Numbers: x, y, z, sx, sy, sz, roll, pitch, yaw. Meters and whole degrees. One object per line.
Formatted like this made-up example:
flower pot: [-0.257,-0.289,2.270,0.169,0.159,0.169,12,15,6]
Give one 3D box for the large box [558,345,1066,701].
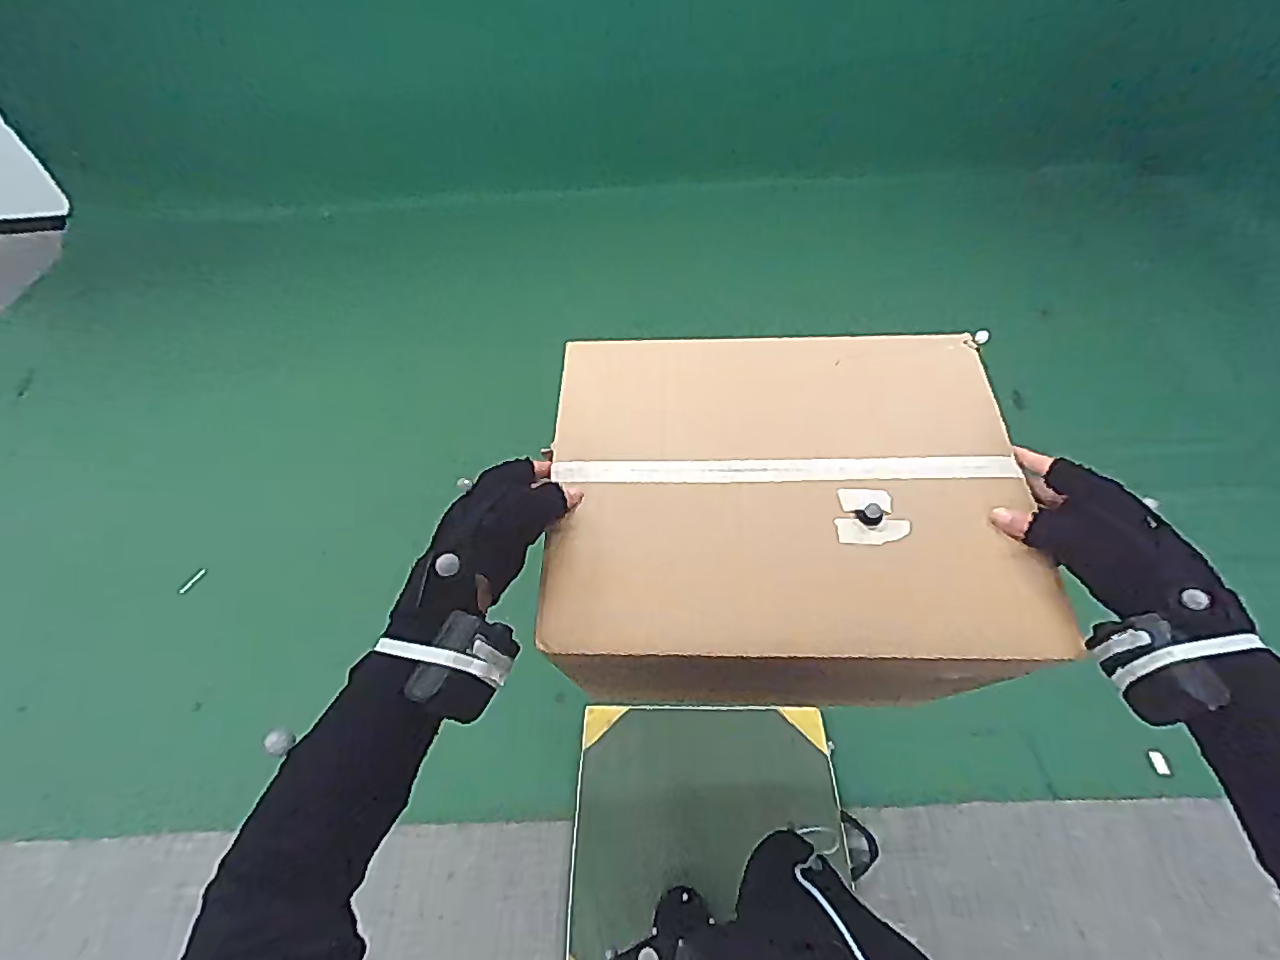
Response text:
large box: [0.137,0.069,0.622,0.408,0.320,0.320,0,62,3]
